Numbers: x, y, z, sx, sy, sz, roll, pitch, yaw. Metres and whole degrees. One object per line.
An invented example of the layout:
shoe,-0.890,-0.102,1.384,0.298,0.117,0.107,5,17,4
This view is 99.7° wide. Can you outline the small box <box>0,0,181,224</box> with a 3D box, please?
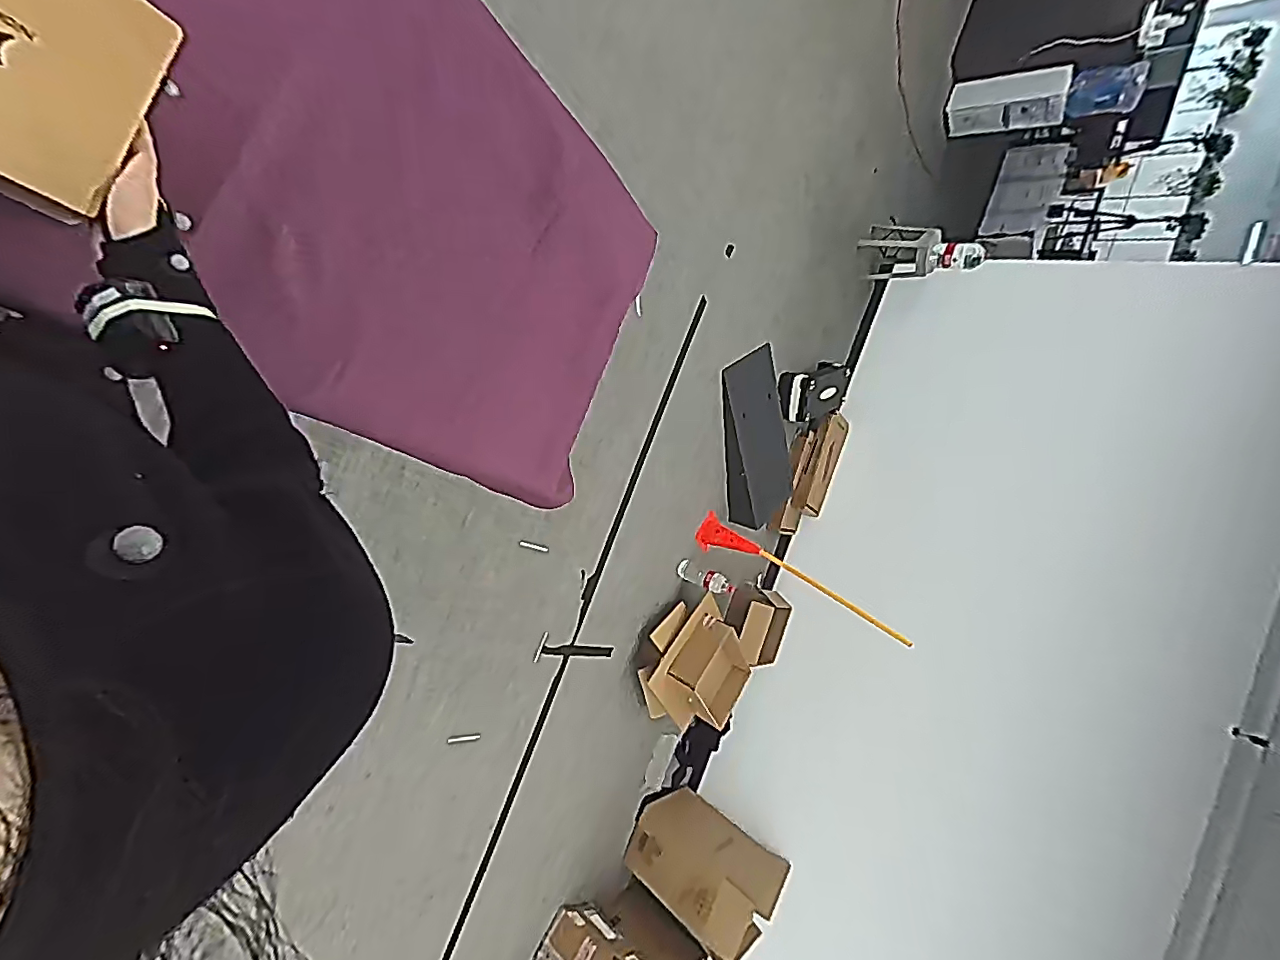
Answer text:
small box,-0.513,-0.327,0.427,0.168,0.176,0.179,26,83,-52
